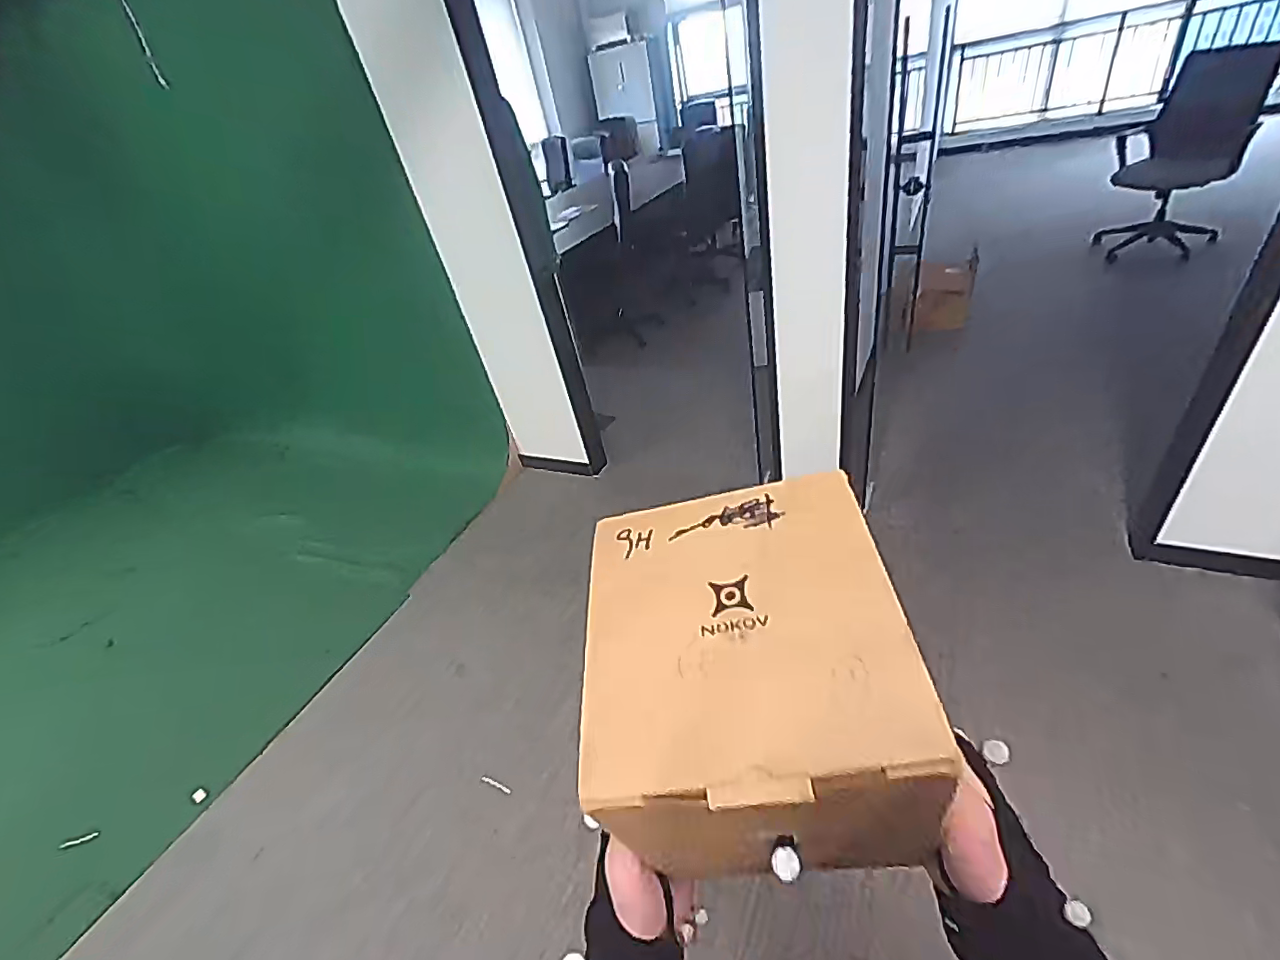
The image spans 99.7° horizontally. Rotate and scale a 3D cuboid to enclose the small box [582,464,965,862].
[{"bbox_3d":[0.072,0.121,0.338,0.168,0.176,0.179,-11,44,10],"label":"small box"}]
